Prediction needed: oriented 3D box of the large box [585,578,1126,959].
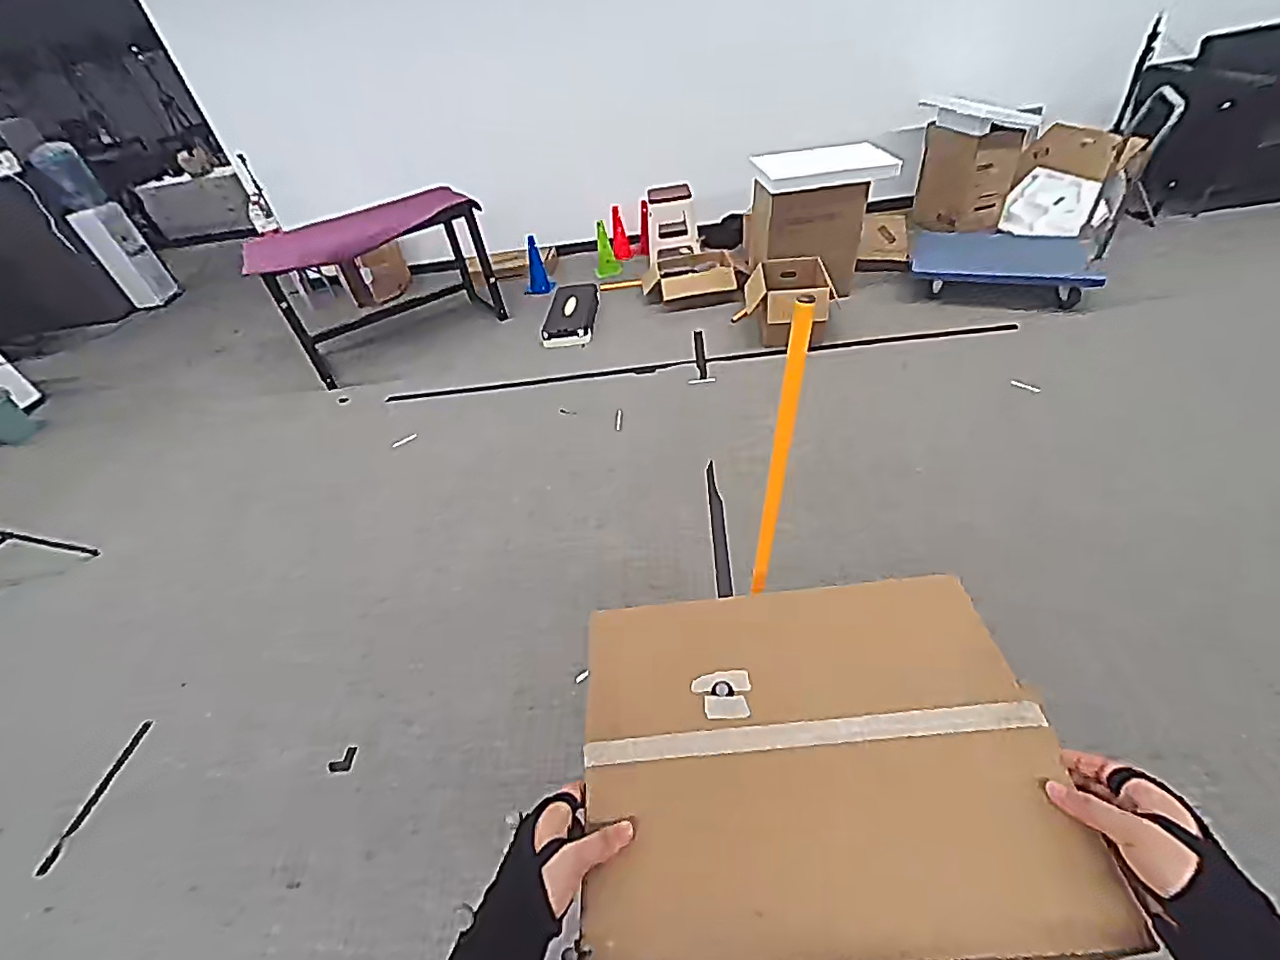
[{"bbox_3d":[0.174,0.348,0.607,0.408,0.320,0.320,-9,42,6],"label":"large box"}]
